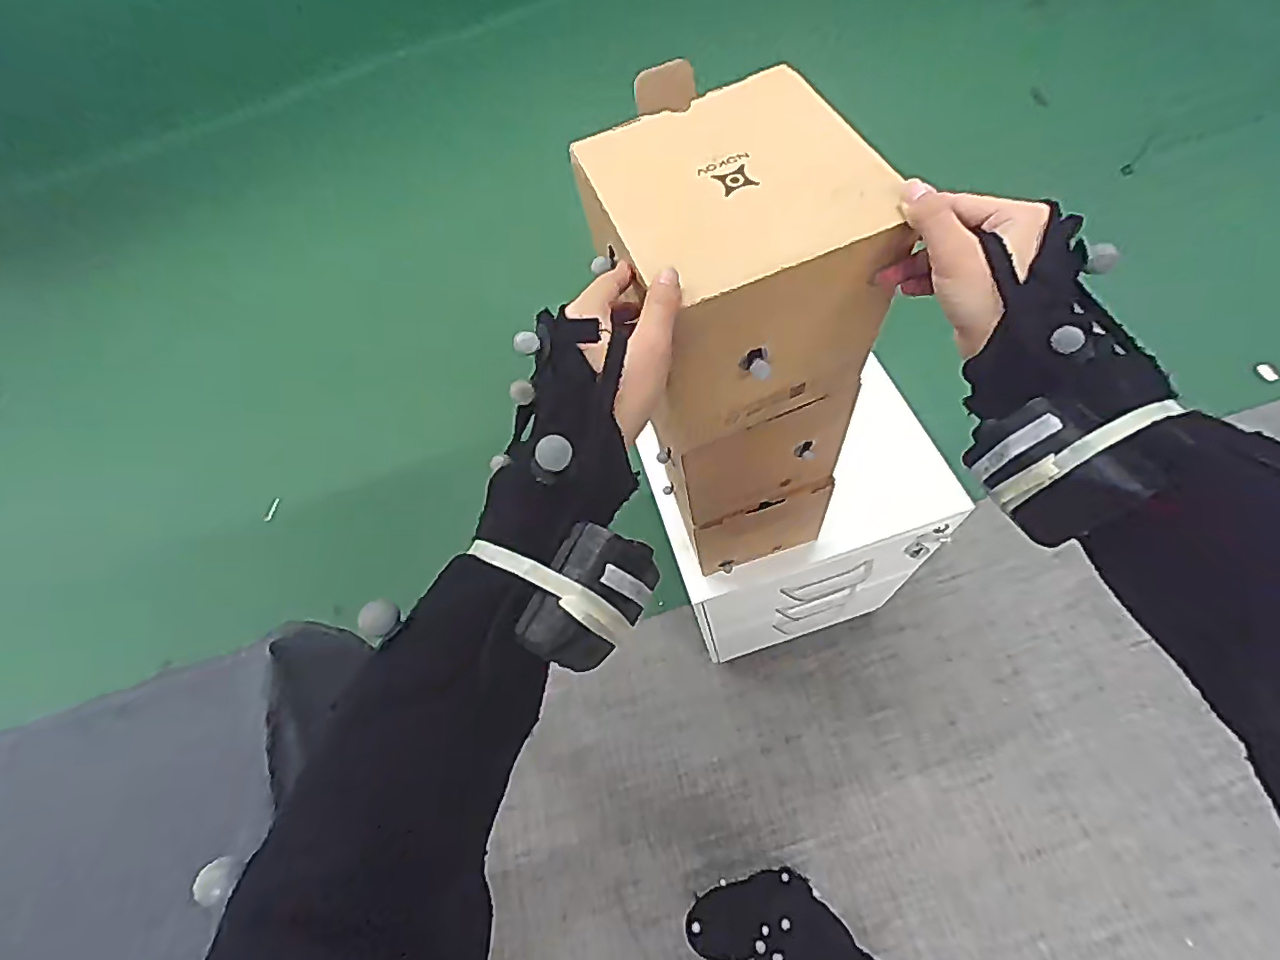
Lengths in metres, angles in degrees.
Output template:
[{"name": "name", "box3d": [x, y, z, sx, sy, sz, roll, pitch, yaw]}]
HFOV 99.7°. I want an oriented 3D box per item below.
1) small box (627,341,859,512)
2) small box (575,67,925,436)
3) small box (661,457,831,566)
[{"name": "small box", "box3d": [0.095, -0.084, 0.557, 0.168, 0.176, 0.179, -19, 60, -2]}, {"name": "small box", "box3d": [0.069, -0.154, 0.409, 0.168, 0.176, 0.179, -22, 63, -3]}, {"name": "small box", "box3d": [0.124, -0.004, 0.696, 0.168, 0.176, 0.179, -18, 61, 0]}]
